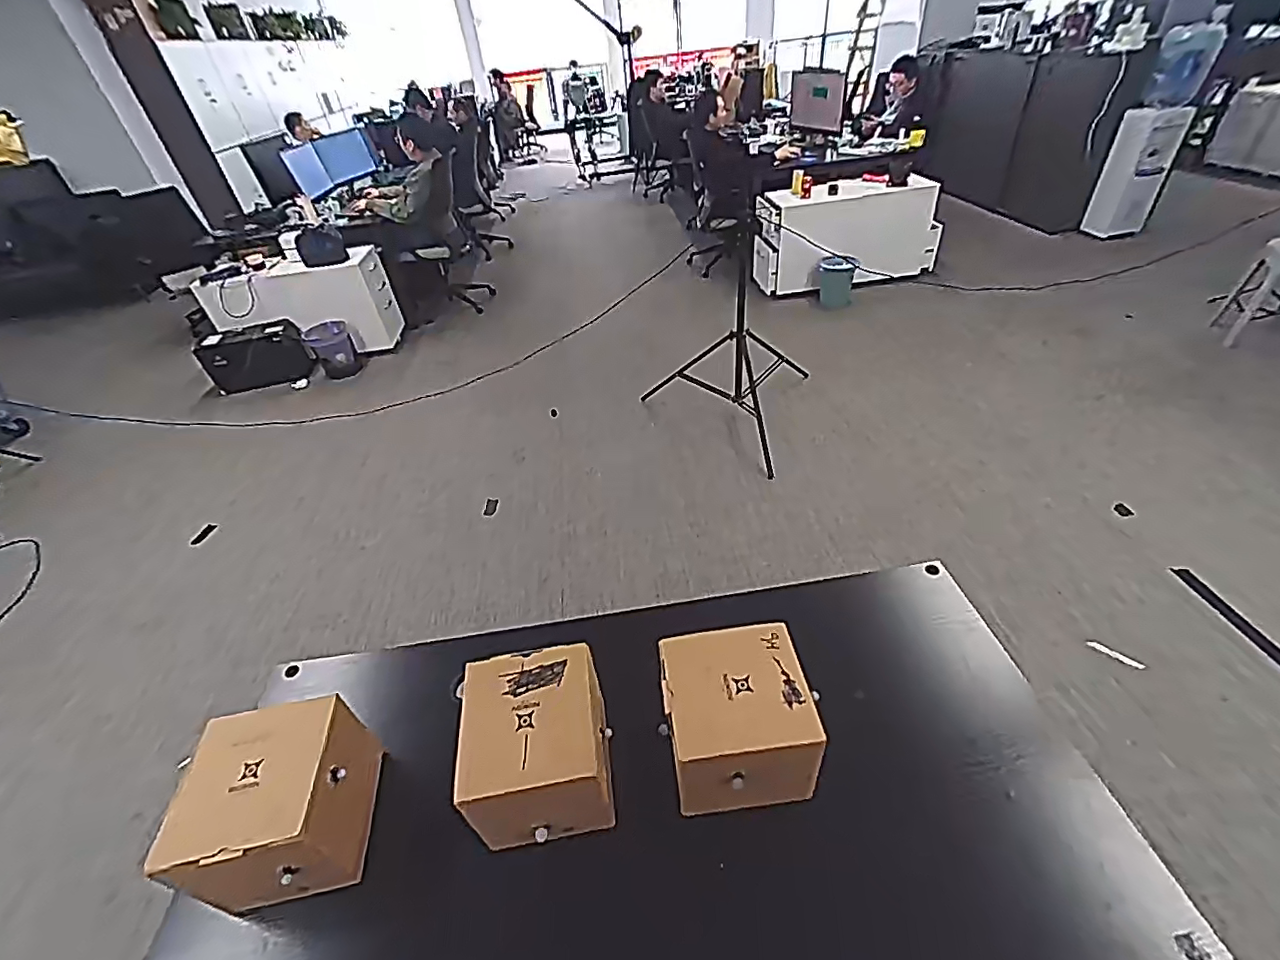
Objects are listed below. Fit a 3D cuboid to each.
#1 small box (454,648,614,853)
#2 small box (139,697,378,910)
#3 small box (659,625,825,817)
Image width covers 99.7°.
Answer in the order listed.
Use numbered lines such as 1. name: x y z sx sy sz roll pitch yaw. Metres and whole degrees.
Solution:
1. small box: -0.130 0.354 0.713 0.168 0.176 0.179 -9 40 -3
2. small box: -0.457 0.414 0.689 0.168 0.176 0.179 -10 39 -6
3. small box: 0.128 0.320 0.717 0.179 0.176 0.168 -8 39 0
